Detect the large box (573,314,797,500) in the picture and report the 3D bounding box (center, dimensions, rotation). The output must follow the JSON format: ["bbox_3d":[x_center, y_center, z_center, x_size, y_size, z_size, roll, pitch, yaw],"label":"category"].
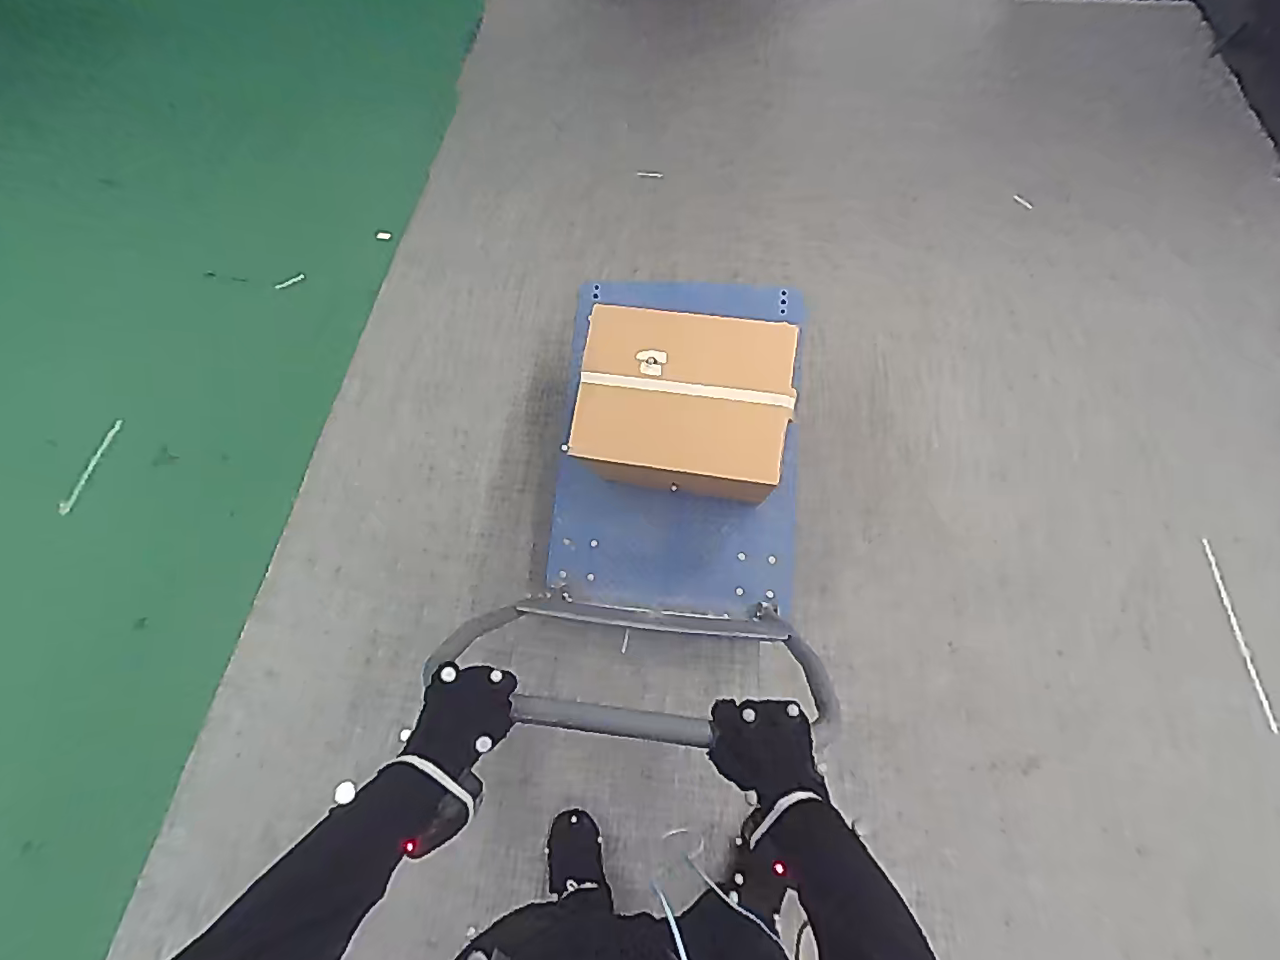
[{"bbox_3d":[0.107,-0.139,1.174,0.408,0.320,0.320,8,82,9],"label":"large box"}]
